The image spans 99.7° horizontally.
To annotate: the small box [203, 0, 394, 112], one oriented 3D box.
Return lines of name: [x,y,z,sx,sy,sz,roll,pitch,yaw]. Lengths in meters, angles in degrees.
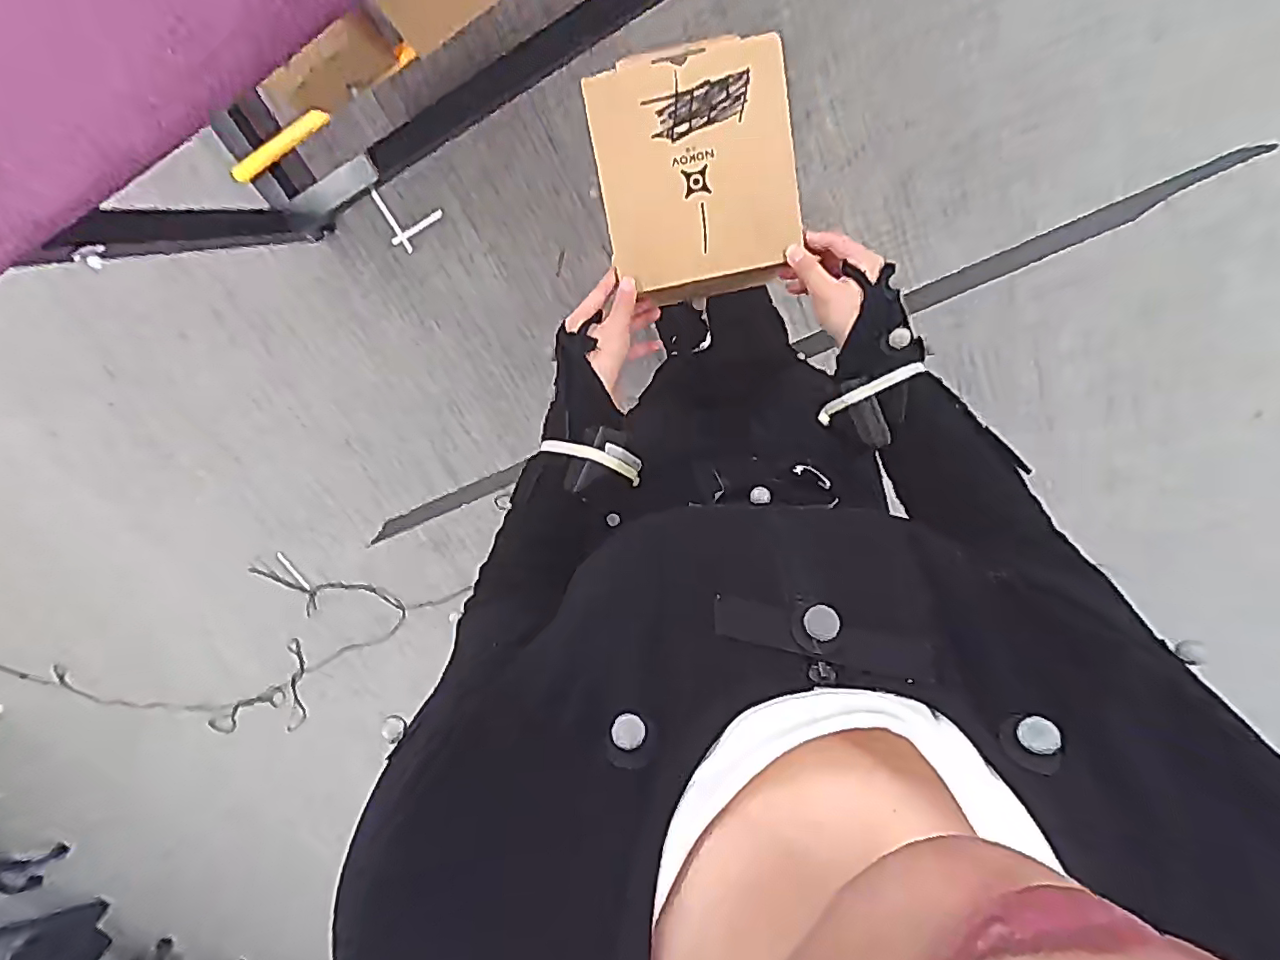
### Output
small box: [-0.543,-0.734,0.869,0.168,0.176,0.179,-26,113,16]

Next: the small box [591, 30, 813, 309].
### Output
small box: [0.055,-0.274,0.523,0.168,0.176,0.179,-10,103,5]
